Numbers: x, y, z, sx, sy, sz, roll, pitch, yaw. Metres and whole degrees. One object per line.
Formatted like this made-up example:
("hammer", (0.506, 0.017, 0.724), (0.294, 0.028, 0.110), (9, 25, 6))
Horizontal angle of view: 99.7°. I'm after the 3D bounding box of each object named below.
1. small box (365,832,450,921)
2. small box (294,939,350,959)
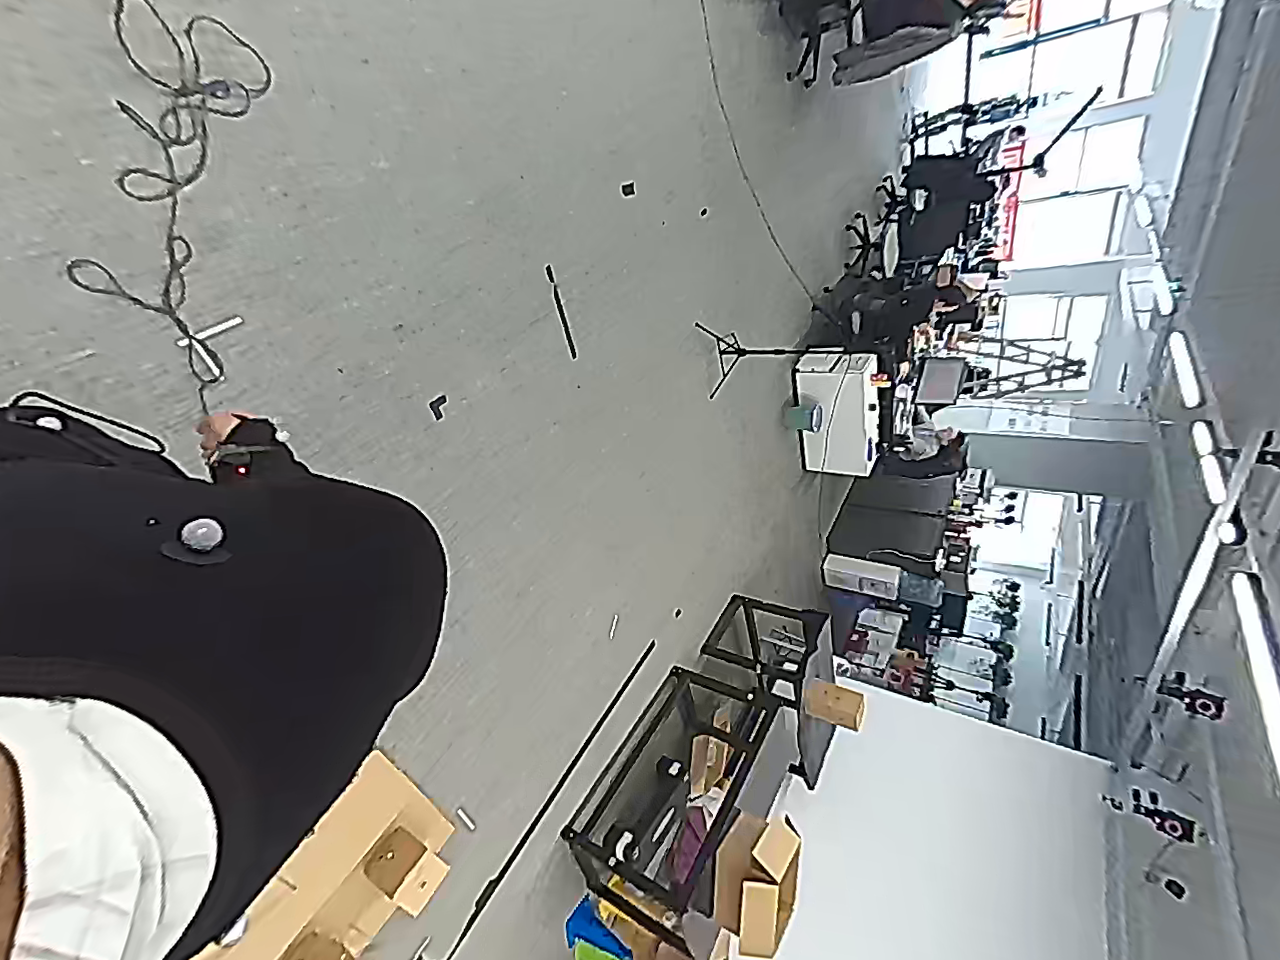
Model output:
("small box", (-0.808, 1.372, 1.881), (0.168, 0.176, 0.179), (-50, 134, -39))
("small box", (-0.990, 1.570, 1.666), (0.168, 0.176, 0.179), (-52, 136, -36))
